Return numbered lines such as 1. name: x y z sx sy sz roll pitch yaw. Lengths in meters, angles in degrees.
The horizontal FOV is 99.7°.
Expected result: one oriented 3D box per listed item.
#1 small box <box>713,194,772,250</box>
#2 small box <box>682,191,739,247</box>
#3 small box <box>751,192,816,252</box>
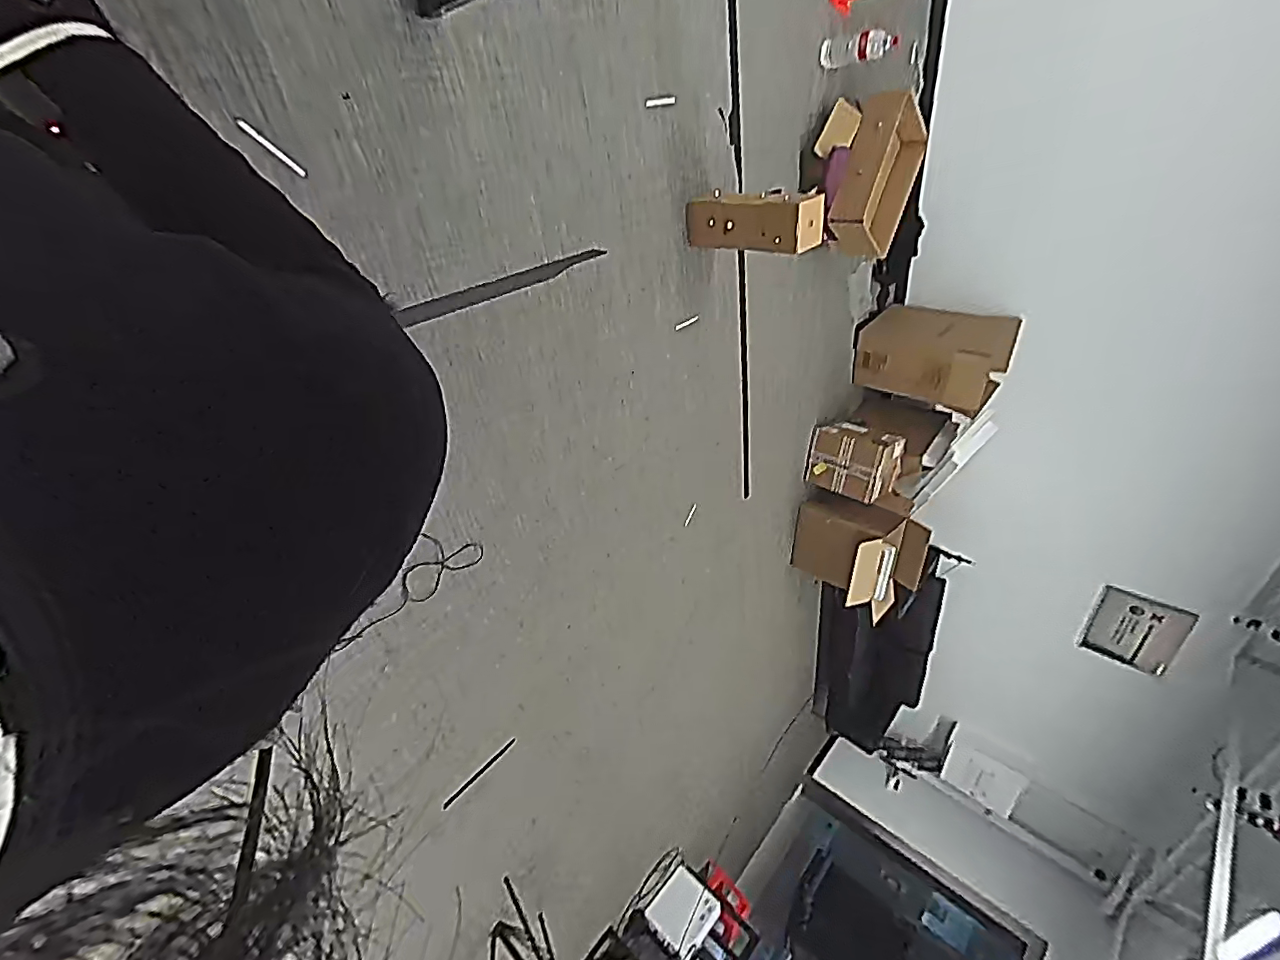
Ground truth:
1. small box: 0.397 -0.989 2.059 0.179 0.176 0.168 -35 132 -33
2. small box: 0.282 -1.045 2.162 0.168 0.176 0.179 -35 133 -33
3. small box: 0.517 -0.937 1.962 0.179 0.176 0.168 -37 134 -34
